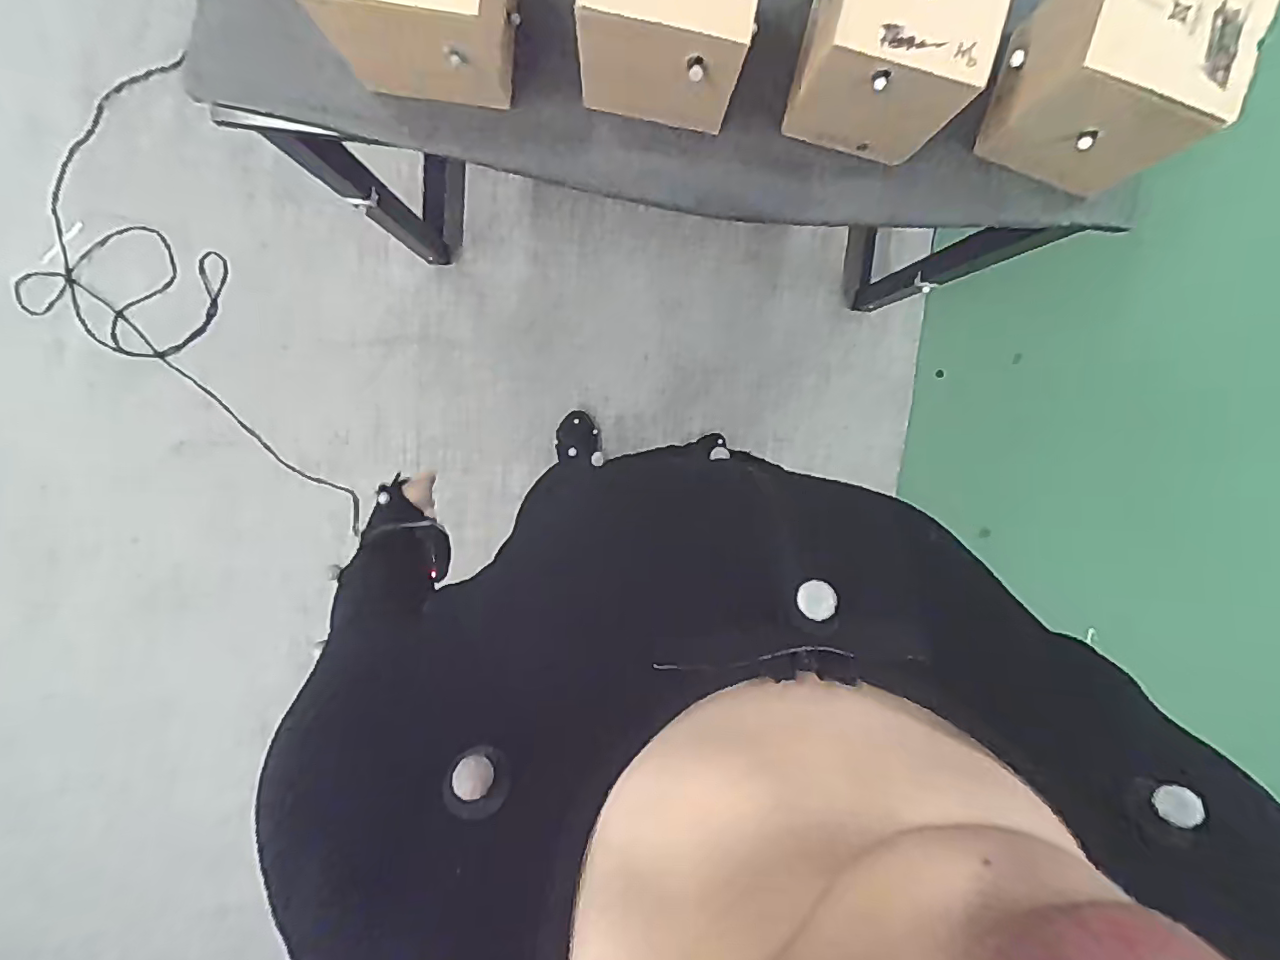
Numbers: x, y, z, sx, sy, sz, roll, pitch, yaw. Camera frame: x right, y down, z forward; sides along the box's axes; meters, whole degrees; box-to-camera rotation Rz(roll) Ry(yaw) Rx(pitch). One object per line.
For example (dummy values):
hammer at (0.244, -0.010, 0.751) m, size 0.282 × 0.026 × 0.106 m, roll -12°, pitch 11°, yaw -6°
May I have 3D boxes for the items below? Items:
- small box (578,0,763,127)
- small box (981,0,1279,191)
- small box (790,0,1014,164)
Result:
small box at (0.037, -0.526, 0.595) m, size 0.179 × 0.176 × 0.168 m, roll 10°, pitch 95°, yaw -2°
small box at (0.546, -0.465, 0.618) m, size 0.179 × 0.176 × 0.168 m, roll 18°, pitch 92°, yaw -3°
small box at (0.287, -0.501, 0.608) m, size 0.168 × 0.176 × 0.179 m, roll 14°, pitch 94°, yaw -4°
